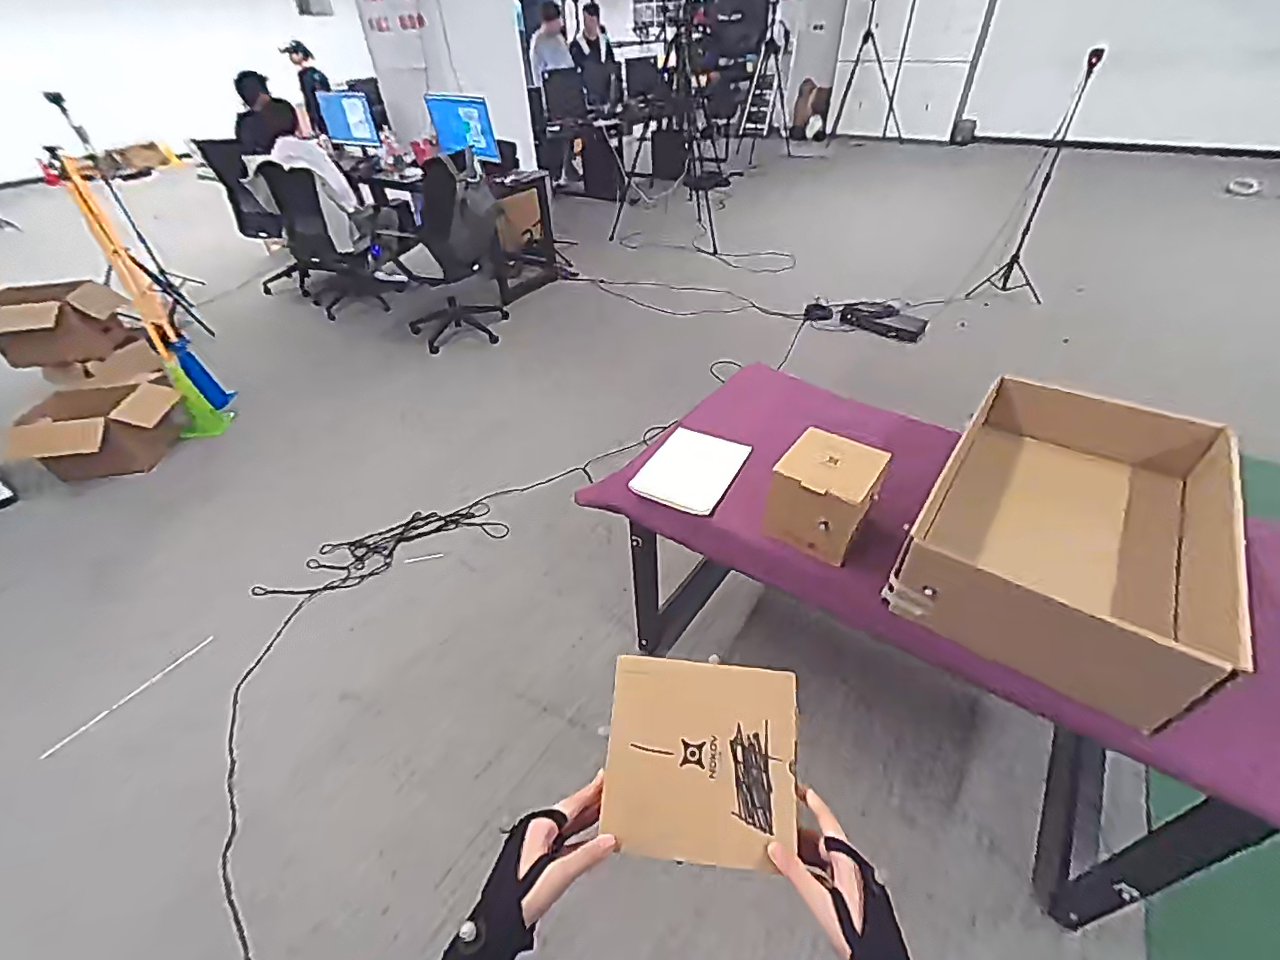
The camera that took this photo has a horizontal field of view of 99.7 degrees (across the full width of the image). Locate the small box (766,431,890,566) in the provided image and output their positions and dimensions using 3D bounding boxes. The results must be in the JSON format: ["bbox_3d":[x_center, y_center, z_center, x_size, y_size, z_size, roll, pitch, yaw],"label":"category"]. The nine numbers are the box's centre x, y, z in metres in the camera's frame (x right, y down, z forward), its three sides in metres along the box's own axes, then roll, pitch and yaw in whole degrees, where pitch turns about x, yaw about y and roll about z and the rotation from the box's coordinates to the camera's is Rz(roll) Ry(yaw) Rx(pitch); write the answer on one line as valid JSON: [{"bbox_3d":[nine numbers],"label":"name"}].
[{"bbox_3d":[0.359,0.036,1.056,0.168,0.176,0.179,26,46,29],"label":"small box"}]

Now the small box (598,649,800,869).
[{"bbox_3d":[0.058,0.280,0.568,0.179,0.176,0.168,6,66,3],"label":"small box"}]
